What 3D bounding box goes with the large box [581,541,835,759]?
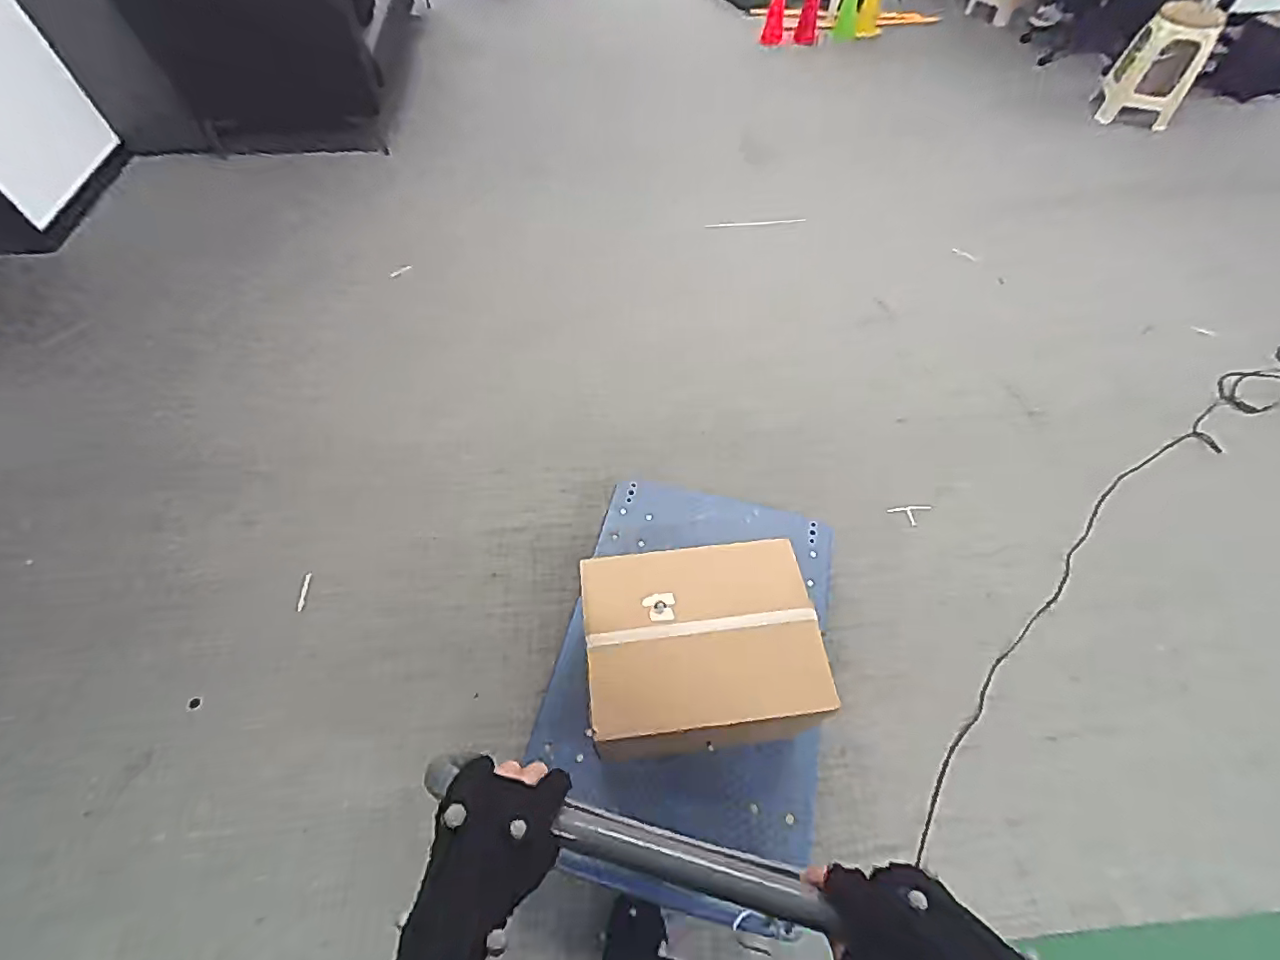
[{"bbox_3d":[0.107,0.346,1.074,0.408,0.320,0.320,-6,56,-3],"label":"large box"}]
